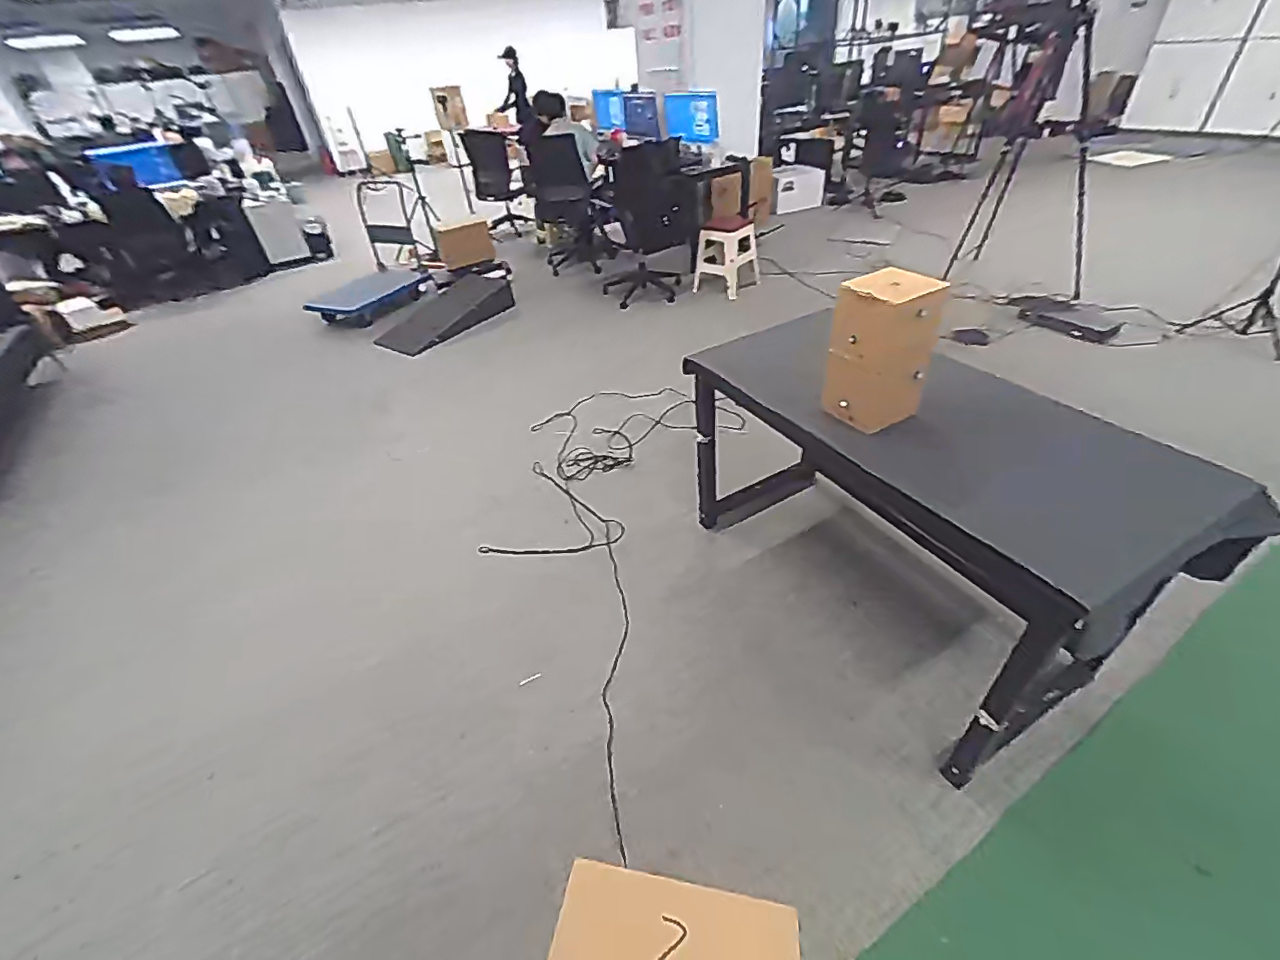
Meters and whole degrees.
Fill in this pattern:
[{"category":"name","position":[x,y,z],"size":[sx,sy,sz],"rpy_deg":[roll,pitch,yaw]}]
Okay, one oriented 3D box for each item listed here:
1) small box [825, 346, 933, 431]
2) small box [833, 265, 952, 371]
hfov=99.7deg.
[{"category":"small box","position":[0.586,-0.250,1.352],"size":[0.179,0.176,0.168],"rpy_deg":[-23,41,-20]},{"category":"small box","position":[0.573,-0.376,1.251],"size":[0.179,0.176,0.168],"rpy_deg":[-23,42,-20]}]
